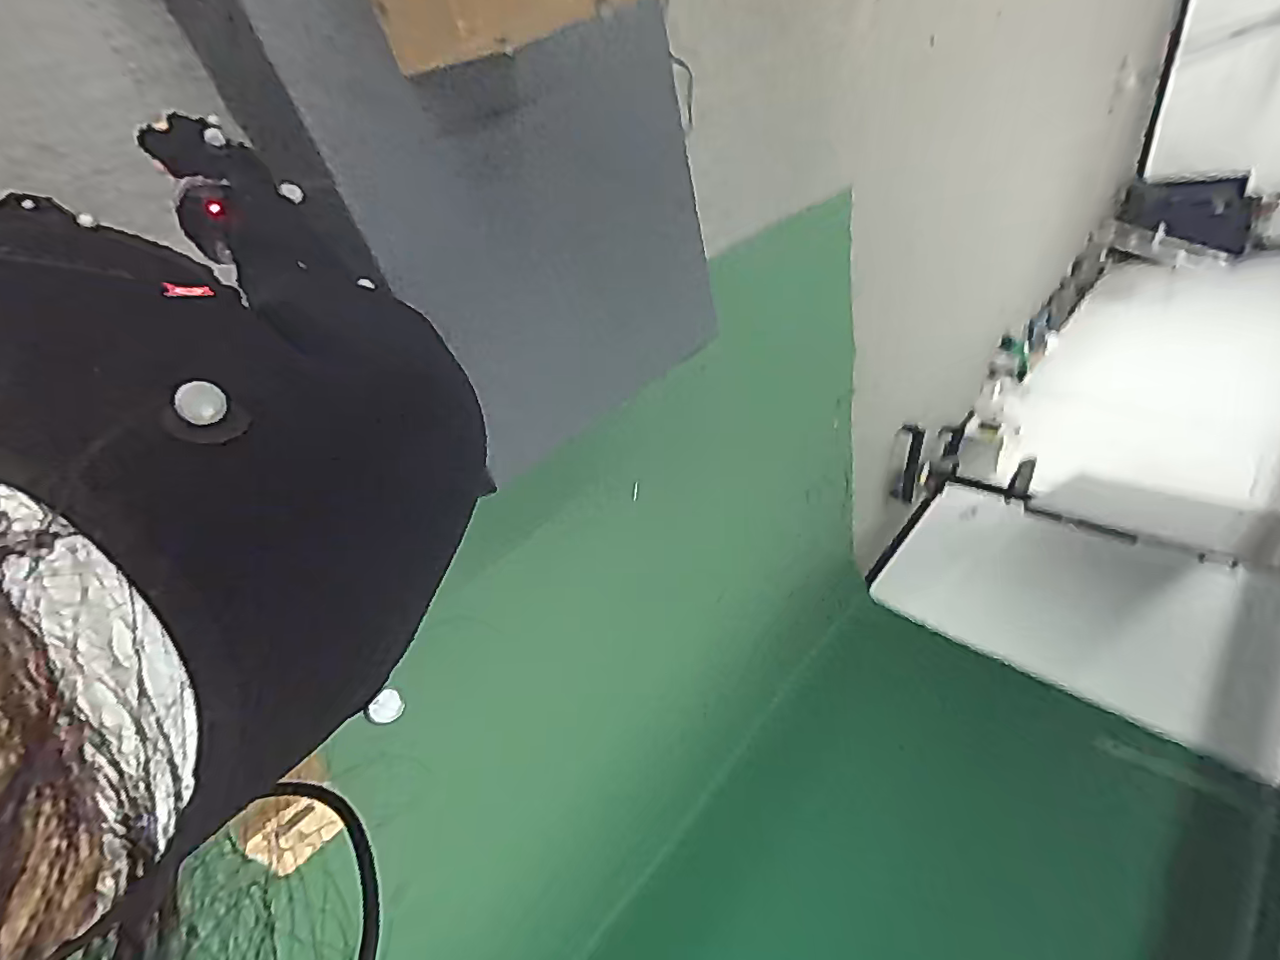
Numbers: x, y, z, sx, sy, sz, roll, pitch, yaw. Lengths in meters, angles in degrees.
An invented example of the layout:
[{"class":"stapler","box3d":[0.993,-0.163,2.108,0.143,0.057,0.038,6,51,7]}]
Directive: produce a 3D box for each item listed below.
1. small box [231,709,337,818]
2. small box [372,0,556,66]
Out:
[{"class":"small box","box3d":[-0.969,0.759,1.469,0.168,0.176,0.179,-35,129,-30]},{"class":"small box","box3d":[-0.200,-0.581,0.586,0.179,0.176,0.168,-41,132,-27]}]
